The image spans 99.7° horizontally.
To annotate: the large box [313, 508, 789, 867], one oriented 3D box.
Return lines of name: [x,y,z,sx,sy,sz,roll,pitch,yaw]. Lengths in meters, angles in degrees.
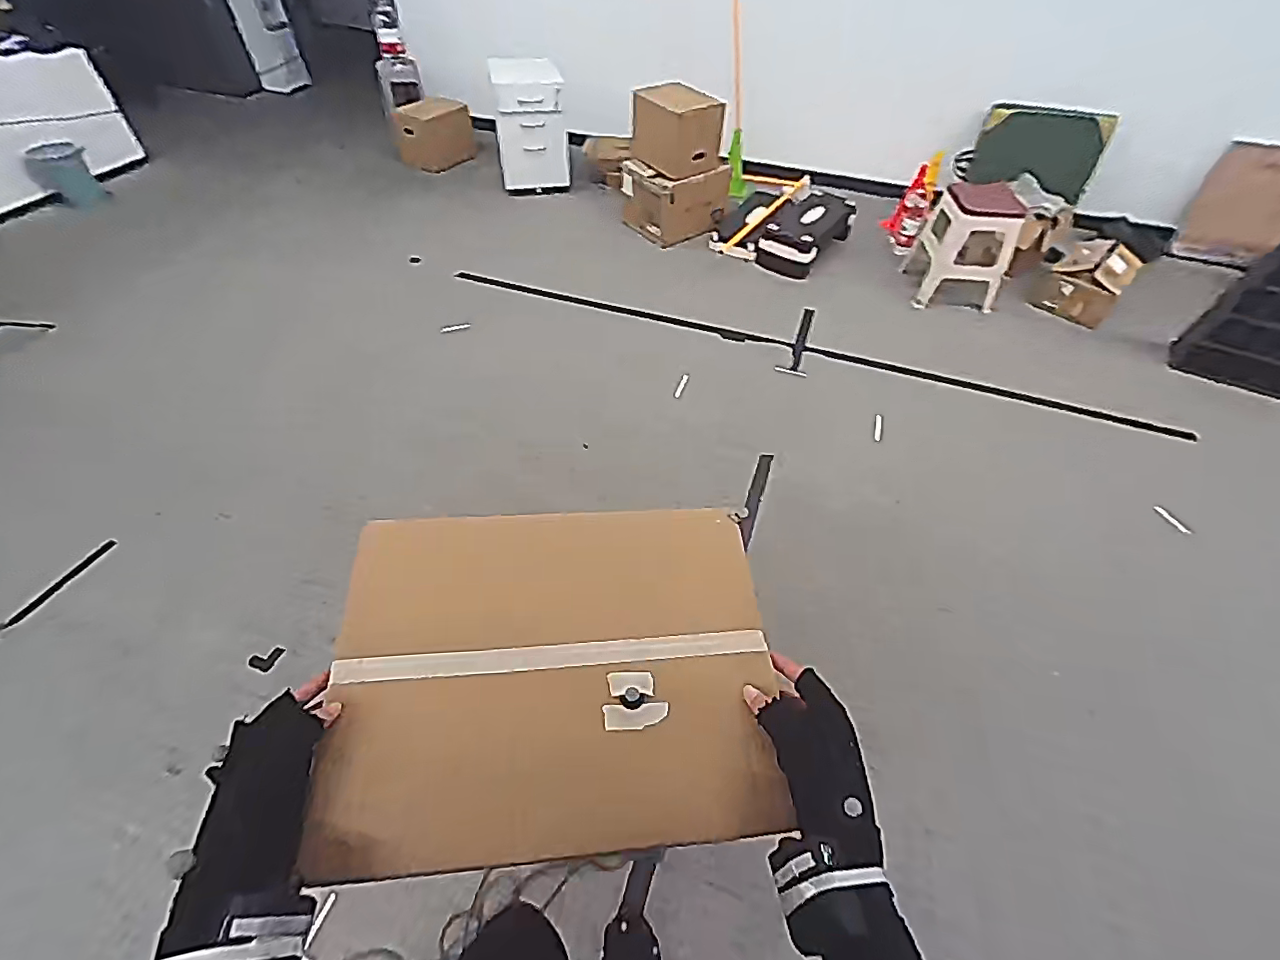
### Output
large box: [-0.093,0.251,0.653,0.408,0.320,0.320,-2,57,-7]
